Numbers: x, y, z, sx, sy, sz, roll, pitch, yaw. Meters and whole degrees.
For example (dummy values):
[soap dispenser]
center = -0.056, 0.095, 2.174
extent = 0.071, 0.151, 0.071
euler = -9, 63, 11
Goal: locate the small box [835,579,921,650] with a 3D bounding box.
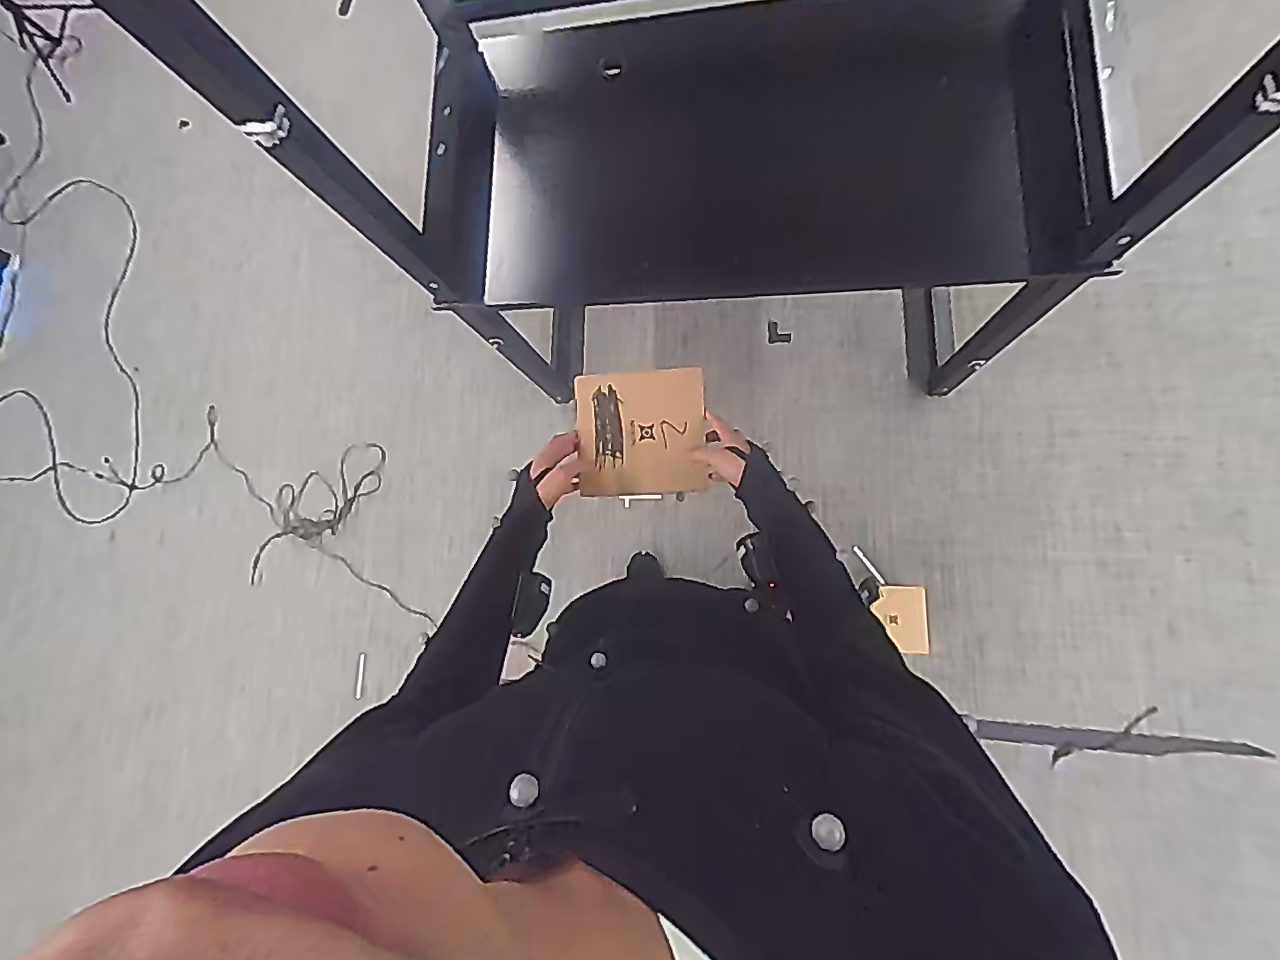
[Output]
[small box]
center = 0.630, 0.353, 1.450
extent = 0.179, 0.176, 0.168
euler = -1, 82, 10
